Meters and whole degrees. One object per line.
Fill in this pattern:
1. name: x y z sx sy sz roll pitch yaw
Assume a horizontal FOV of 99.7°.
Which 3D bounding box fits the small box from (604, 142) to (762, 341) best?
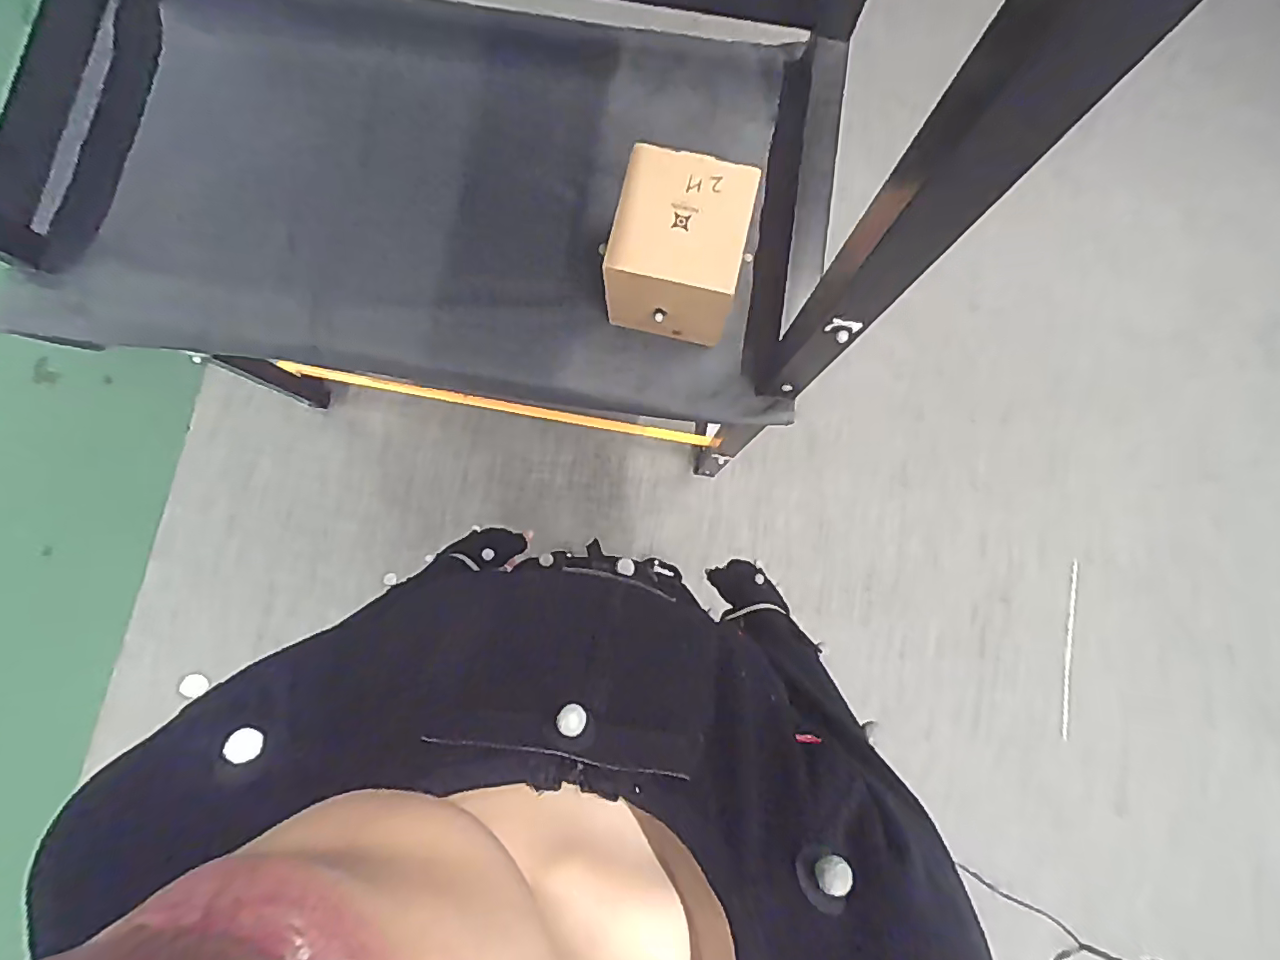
1. small box: 0.055 -0.314 0.748 0.168 0.176 0.179 14 82 1
